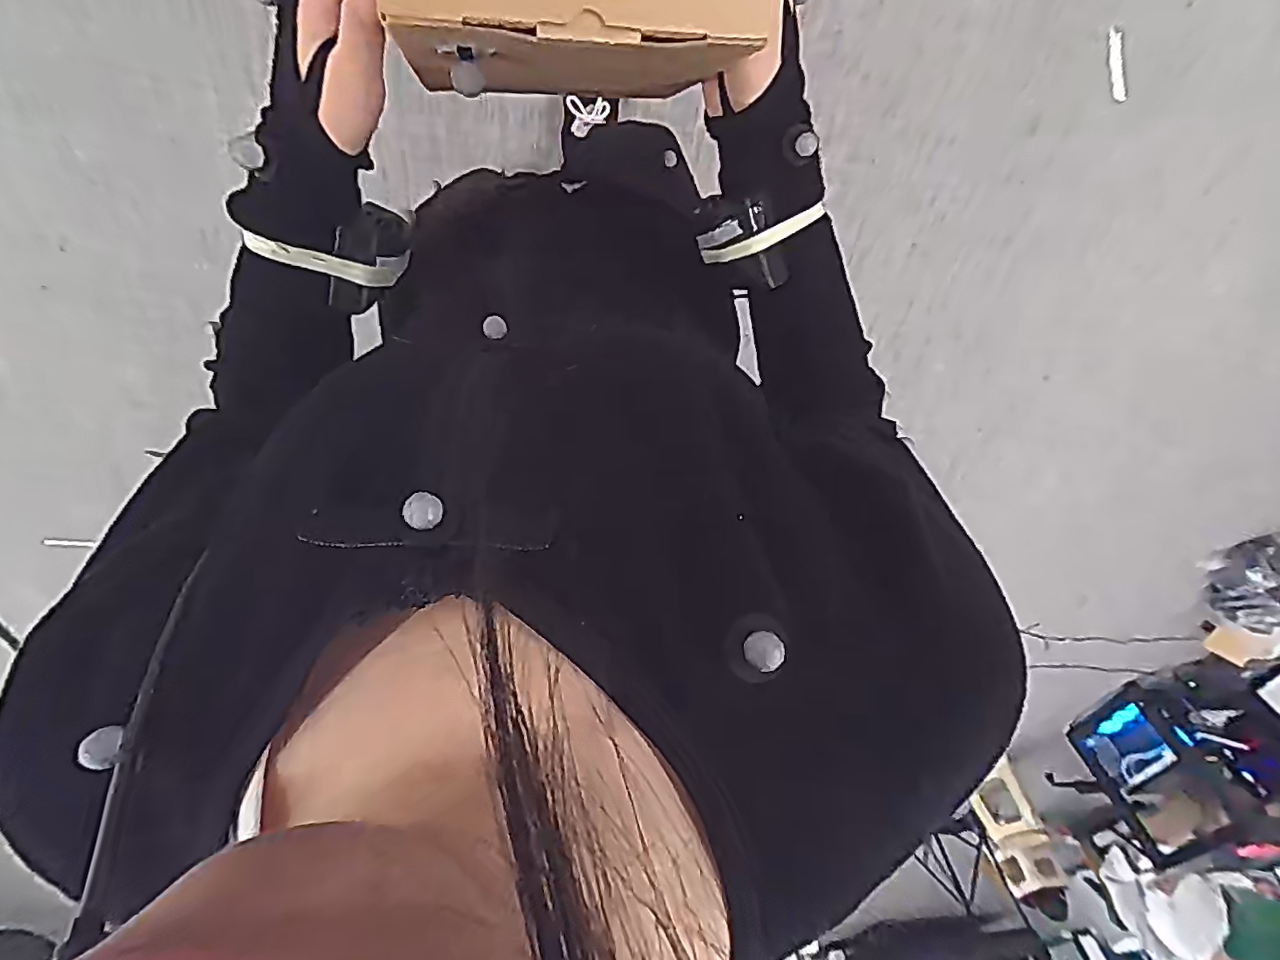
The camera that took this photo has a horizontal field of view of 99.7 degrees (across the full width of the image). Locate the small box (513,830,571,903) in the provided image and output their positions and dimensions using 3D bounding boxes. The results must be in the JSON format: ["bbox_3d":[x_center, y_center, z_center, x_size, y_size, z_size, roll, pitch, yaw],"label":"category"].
[{"bbox_3d":[-0.310,1.232,1.716,0.168,0.176,0.179,5,129,-11],"label":"small box"}]

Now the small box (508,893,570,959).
[{"bbox_3d":[-0.297,1.341,1.594,0.168,0.176,0.179,5,130,-10],"label":"small box"}]
